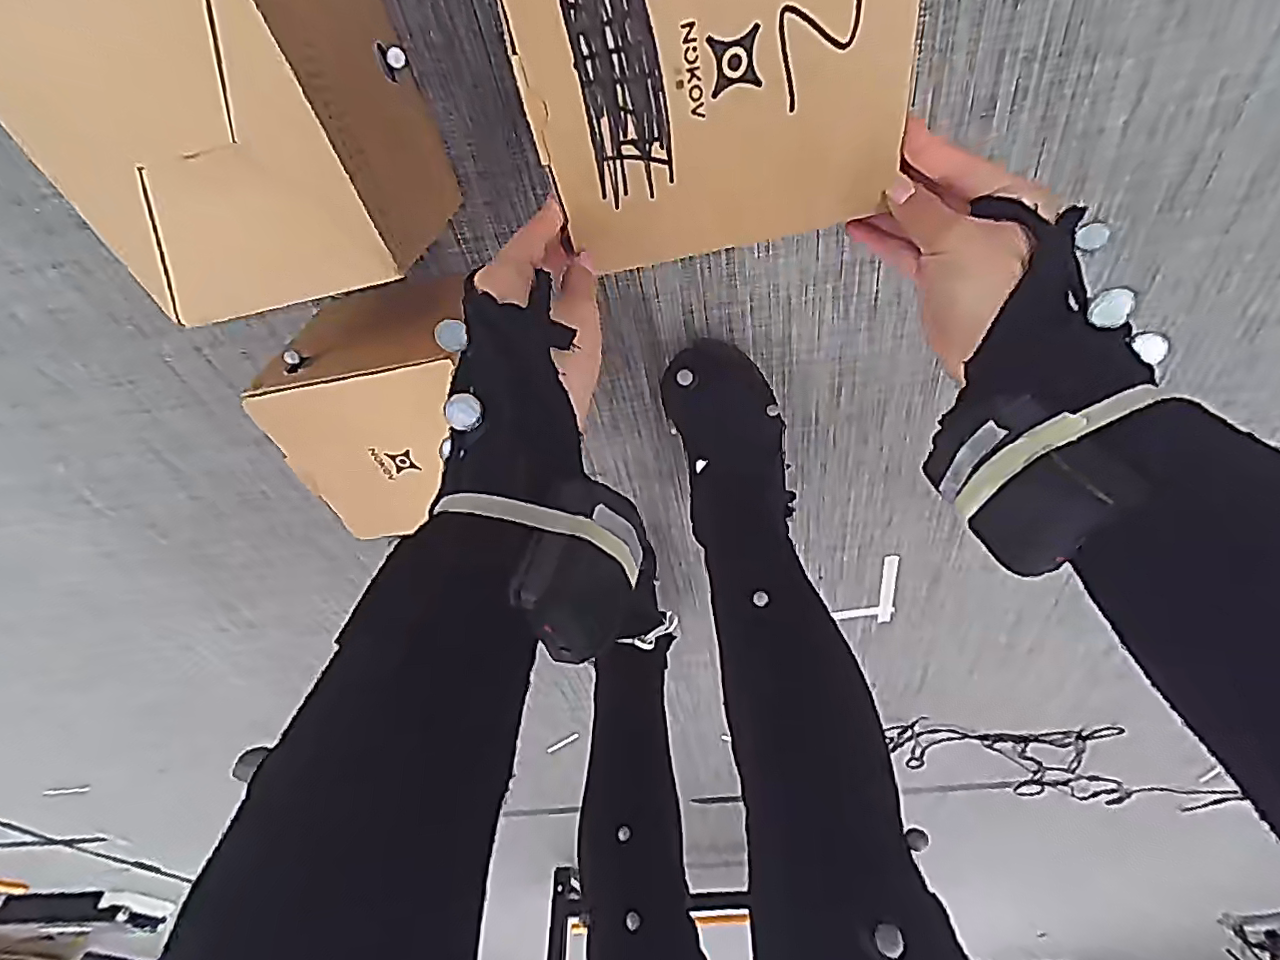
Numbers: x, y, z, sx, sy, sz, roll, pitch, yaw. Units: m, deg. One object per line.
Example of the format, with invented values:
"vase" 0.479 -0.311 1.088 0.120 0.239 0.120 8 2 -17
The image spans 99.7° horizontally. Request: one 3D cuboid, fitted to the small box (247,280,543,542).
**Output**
"small box" -0.198 -0.067 0.505 0.179 0.176 0.168 -8 132 8
